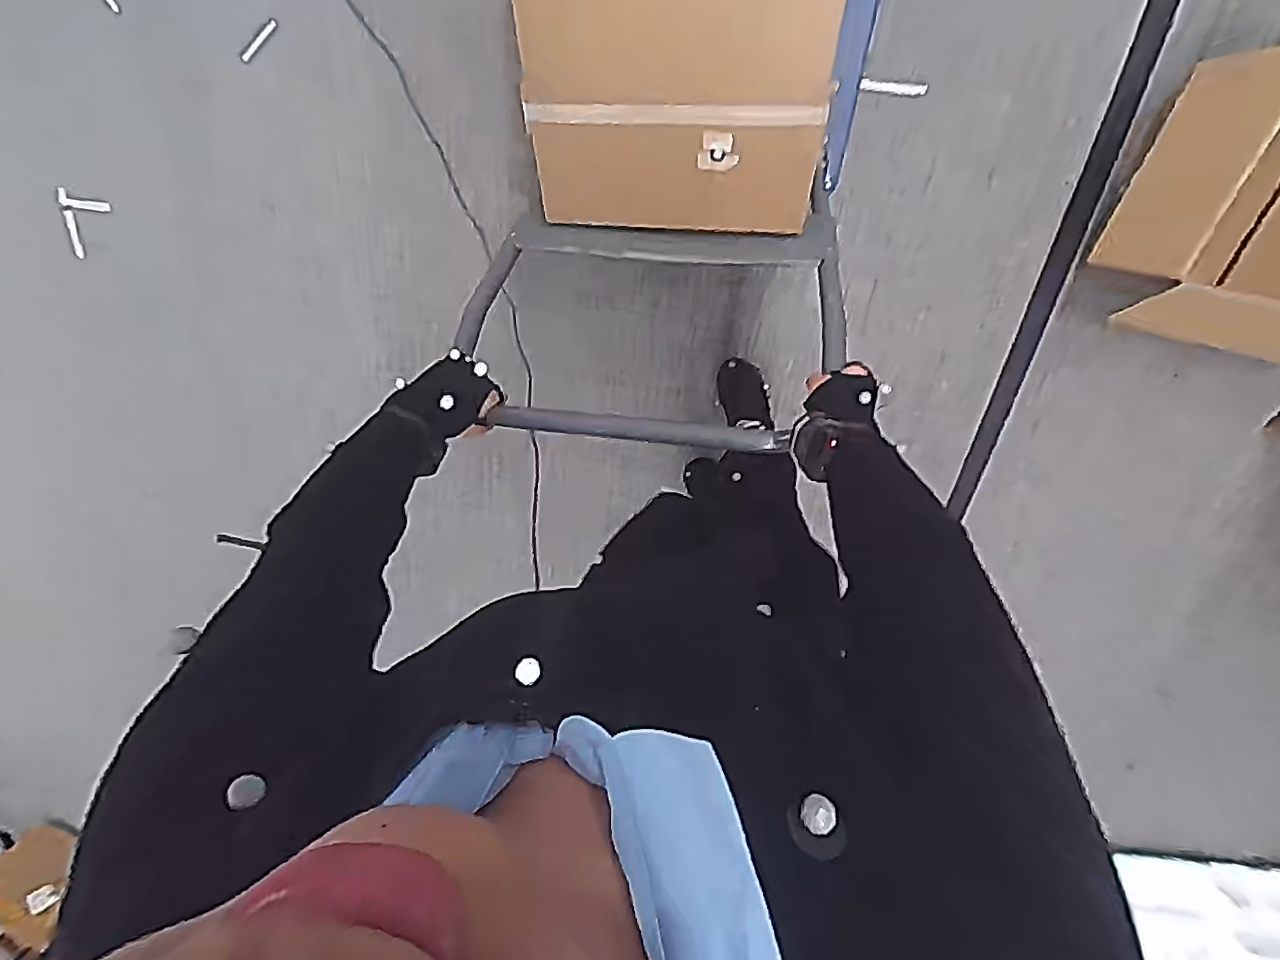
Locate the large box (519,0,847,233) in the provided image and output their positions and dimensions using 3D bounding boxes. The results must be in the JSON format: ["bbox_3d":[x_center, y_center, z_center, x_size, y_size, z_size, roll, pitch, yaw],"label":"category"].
[{"bbox_3d":[0.068,-0.605,0.839,0.408,0.320,0.320,5,138,7],"label":"large box"}]
